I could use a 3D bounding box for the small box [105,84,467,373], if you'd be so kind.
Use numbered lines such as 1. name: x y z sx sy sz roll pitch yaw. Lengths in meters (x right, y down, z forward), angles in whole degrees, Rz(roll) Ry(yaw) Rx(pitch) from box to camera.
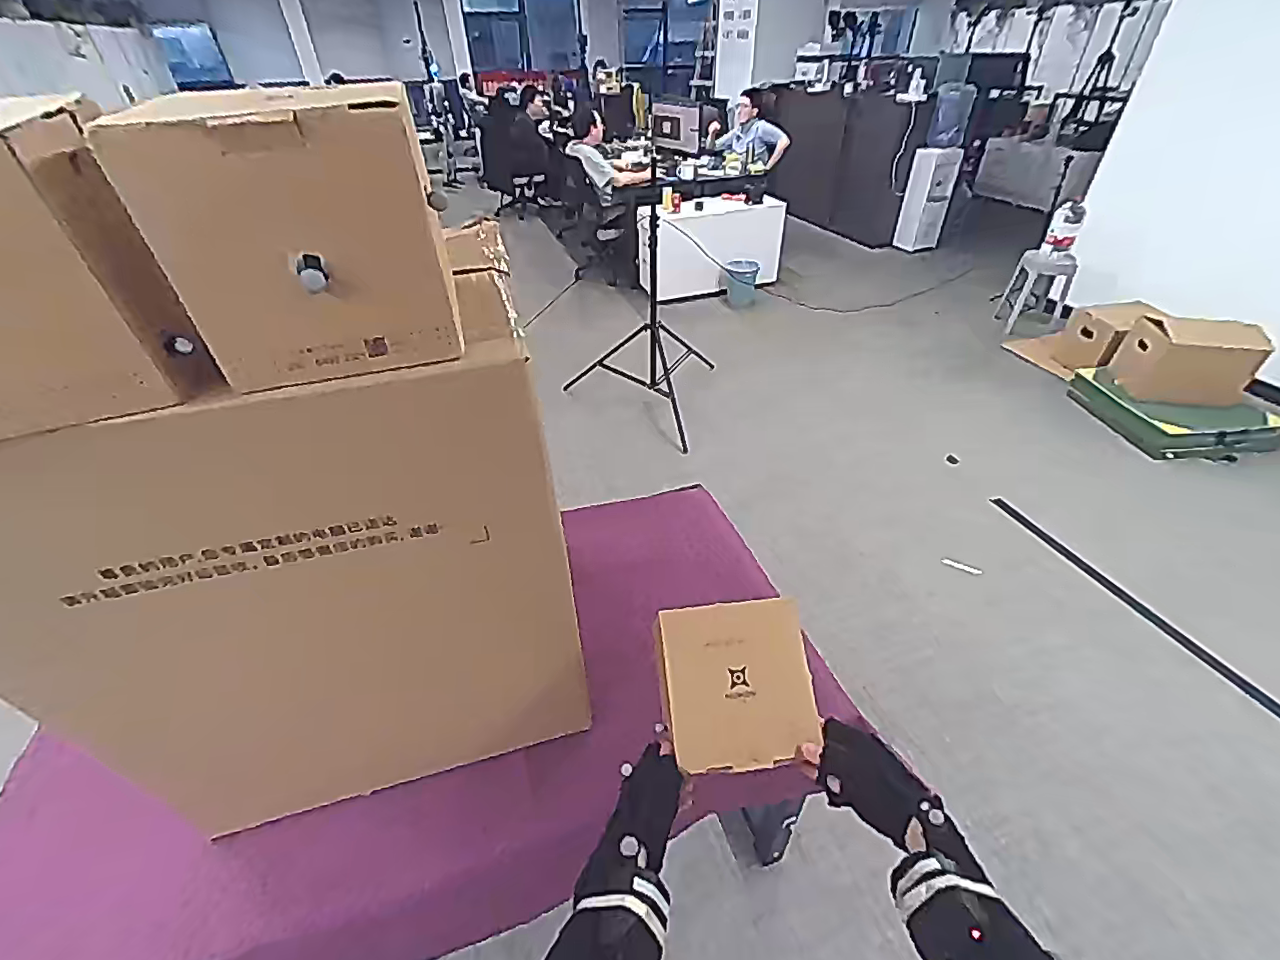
1. small box: -0.240 -0.195 0.424 0.168 0.176 0.179 -12 42 -14

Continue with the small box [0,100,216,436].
1. small box: -0.430 -0.141 0.364 0.179 0.176 0.168 -17 43 -17
